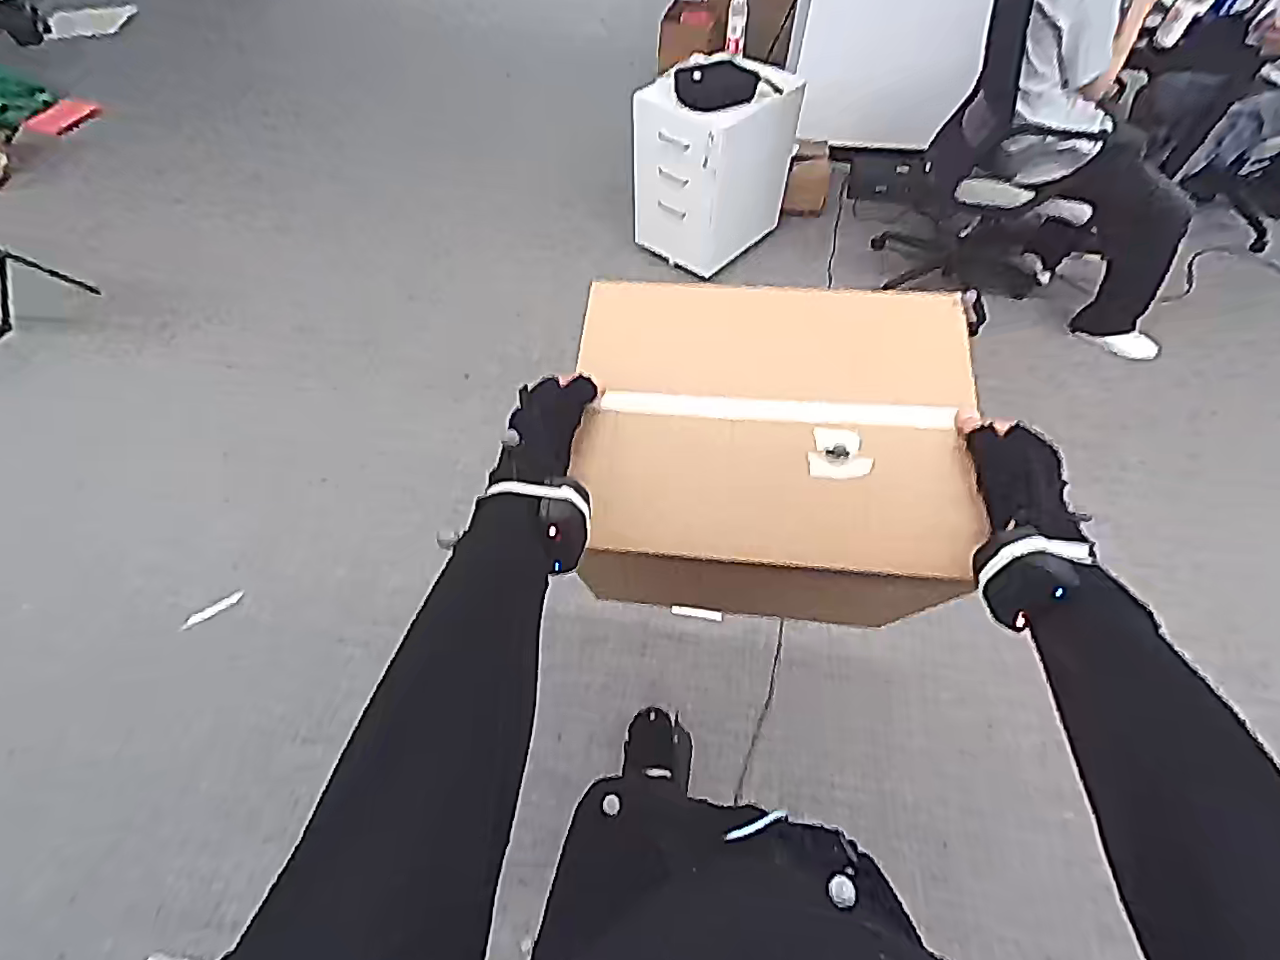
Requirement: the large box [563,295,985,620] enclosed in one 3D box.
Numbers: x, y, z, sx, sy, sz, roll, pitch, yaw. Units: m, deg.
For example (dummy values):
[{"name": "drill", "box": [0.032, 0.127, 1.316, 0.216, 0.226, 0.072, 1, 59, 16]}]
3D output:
[{"name": "large box", "box": [0.142, -0.010, 0.702, 0.408, 0.320, 0.320, 5, 69, 6]}]
